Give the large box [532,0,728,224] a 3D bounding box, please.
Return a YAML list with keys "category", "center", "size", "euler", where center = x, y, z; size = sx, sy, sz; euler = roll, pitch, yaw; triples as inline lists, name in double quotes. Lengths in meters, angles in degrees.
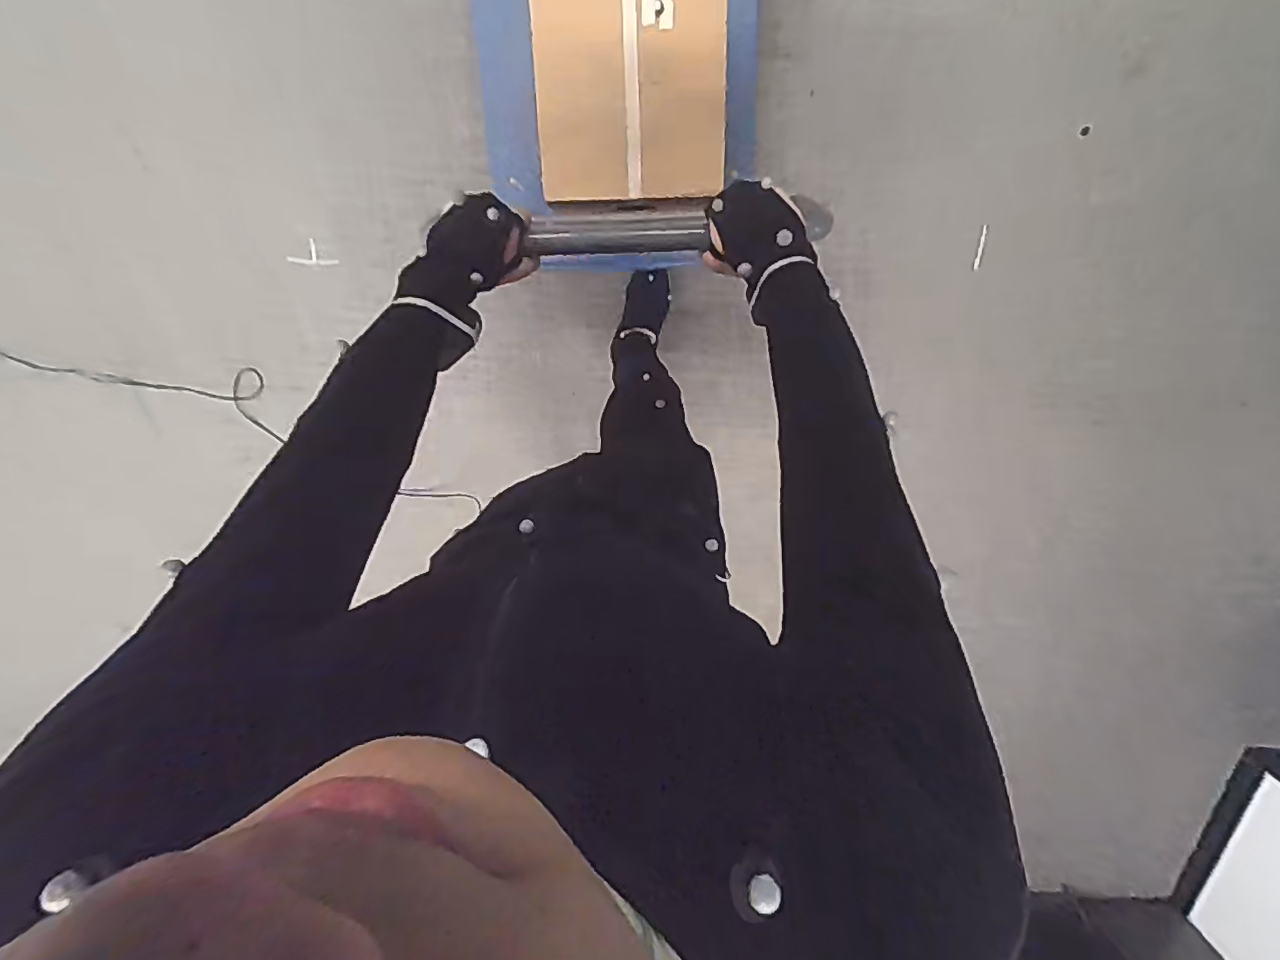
- category: "large box"
  center: [-0.012, -0.726, 1.017]
  size: [0.320, 0.320, 0.408]
  euler: [-2, 108, -1]
